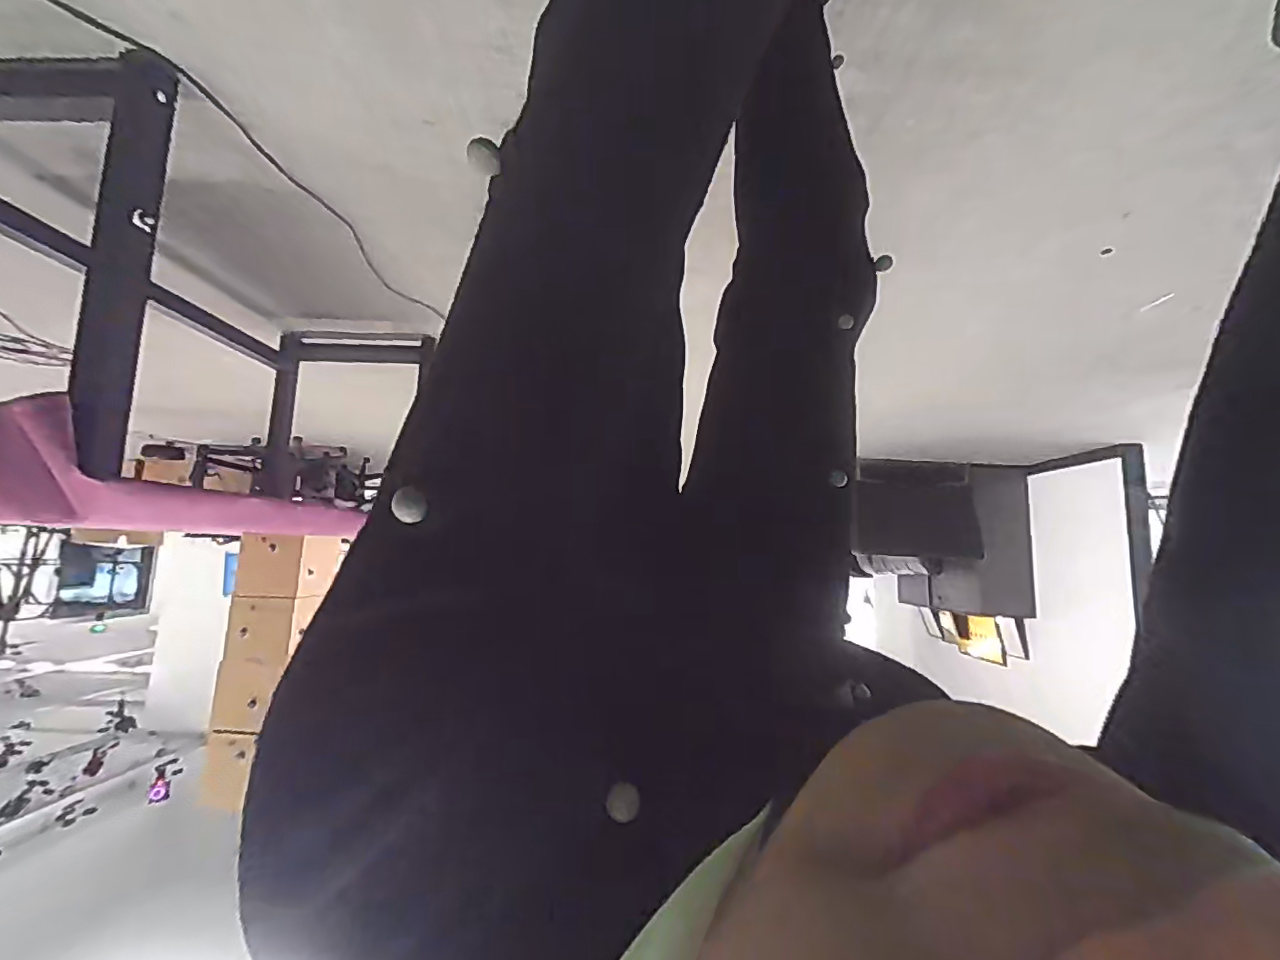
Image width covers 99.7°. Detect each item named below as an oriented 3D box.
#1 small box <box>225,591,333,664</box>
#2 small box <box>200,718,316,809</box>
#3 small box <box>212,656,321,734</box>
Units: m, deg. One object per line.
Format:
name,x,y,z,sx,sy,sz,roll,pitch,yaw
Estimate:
small box,-0.943,0.382,1.426,0.168,0.176,0.179,2,172,1
small box,-0.960,0.706,1.377,0.168,0.176,0.179,3,171,2
small box,-0.957,0.543,1.402,0.179,0.176,0.168,2,171,2
